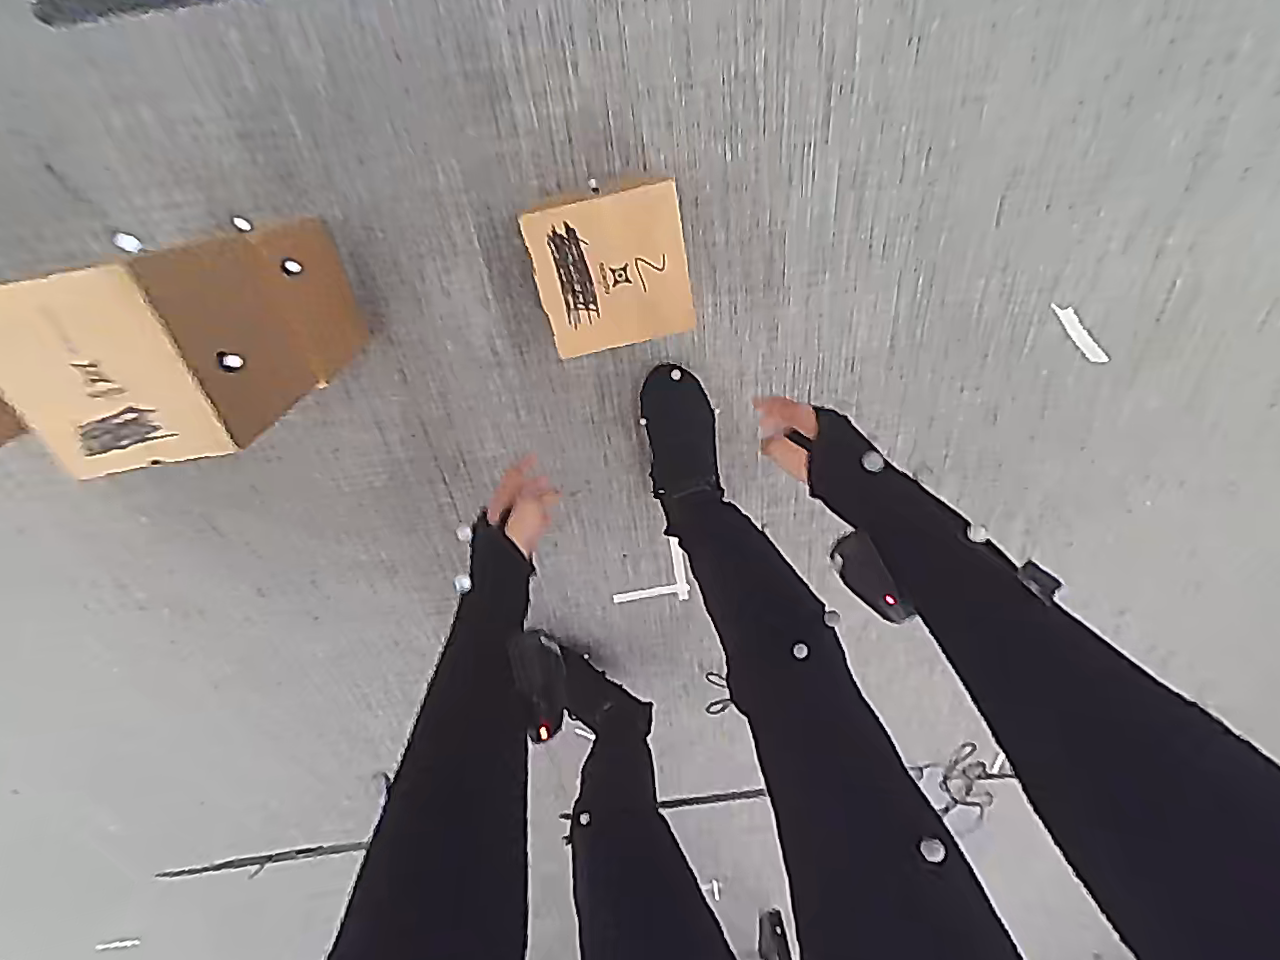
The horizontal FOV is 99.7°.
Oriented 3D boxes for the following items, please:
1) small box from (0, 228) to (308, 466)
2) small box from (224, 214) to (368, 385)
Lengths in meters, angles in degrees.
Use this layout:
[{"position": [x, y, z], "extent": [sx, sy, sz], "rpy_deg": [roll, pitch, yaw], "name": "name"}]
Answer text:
[{"position": [-0.481, -0.140, 0.546], "extent": [0.168, 0.176, 0.179], "rpy_deg": [-10, 121, 1], "name": "small box"}, {"position": [-0.482, -0.223, 0.688], "extent": [0.168, 0.176, 0.179], "rpy_deg": [-10, 122, 1], "name": "small box"}]
